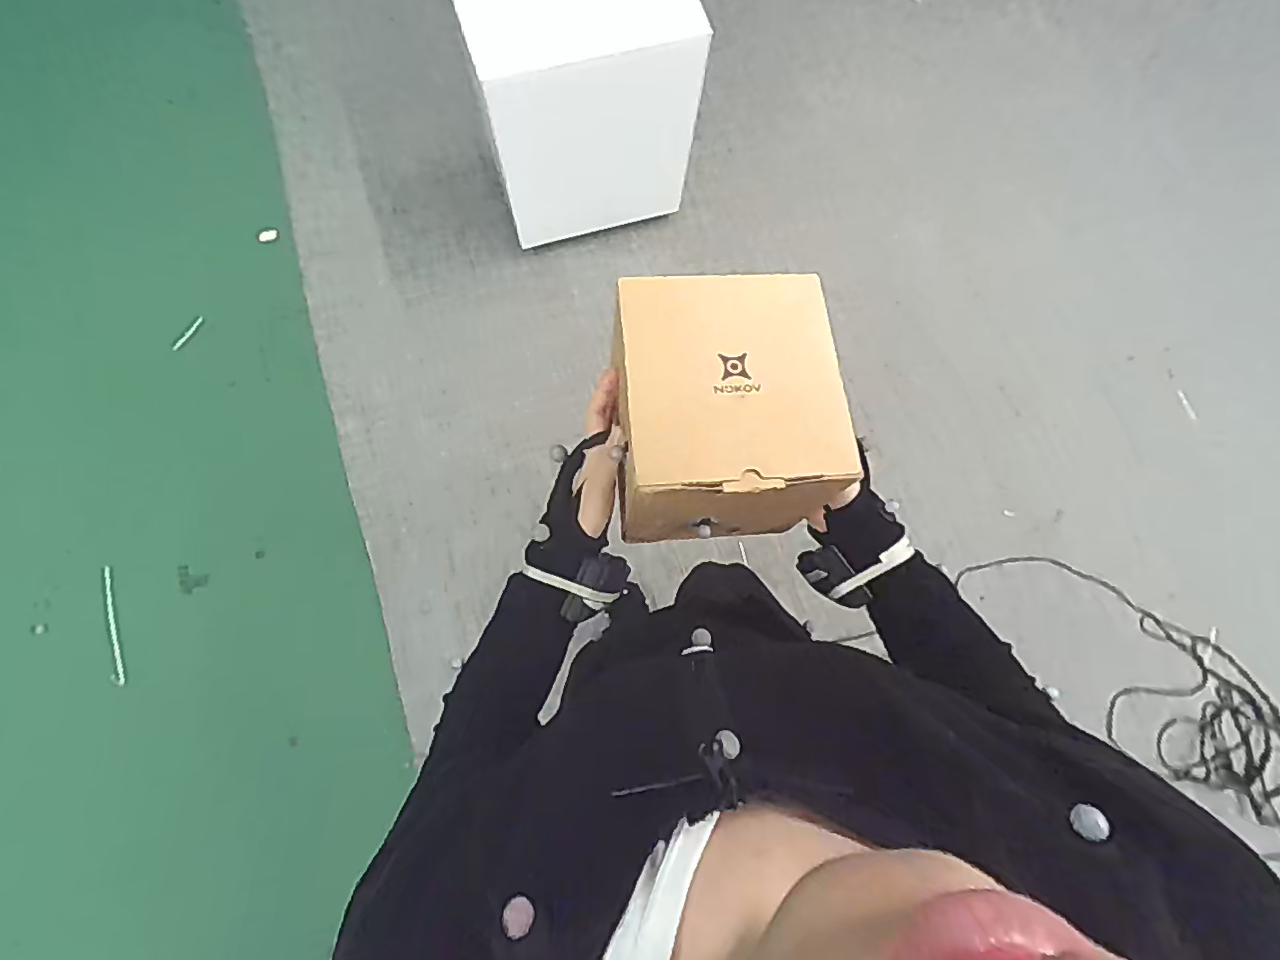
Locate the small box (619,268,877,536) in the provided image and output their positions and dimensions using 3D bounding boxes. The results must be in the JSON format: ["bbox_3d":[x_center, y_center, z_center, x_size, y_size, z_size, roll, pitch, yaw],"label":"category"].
[{"bbox_3d":[0.072,-0.058,0.472,0.168,0.176,0.179,-3,72,-6],"label":"small box"}]
